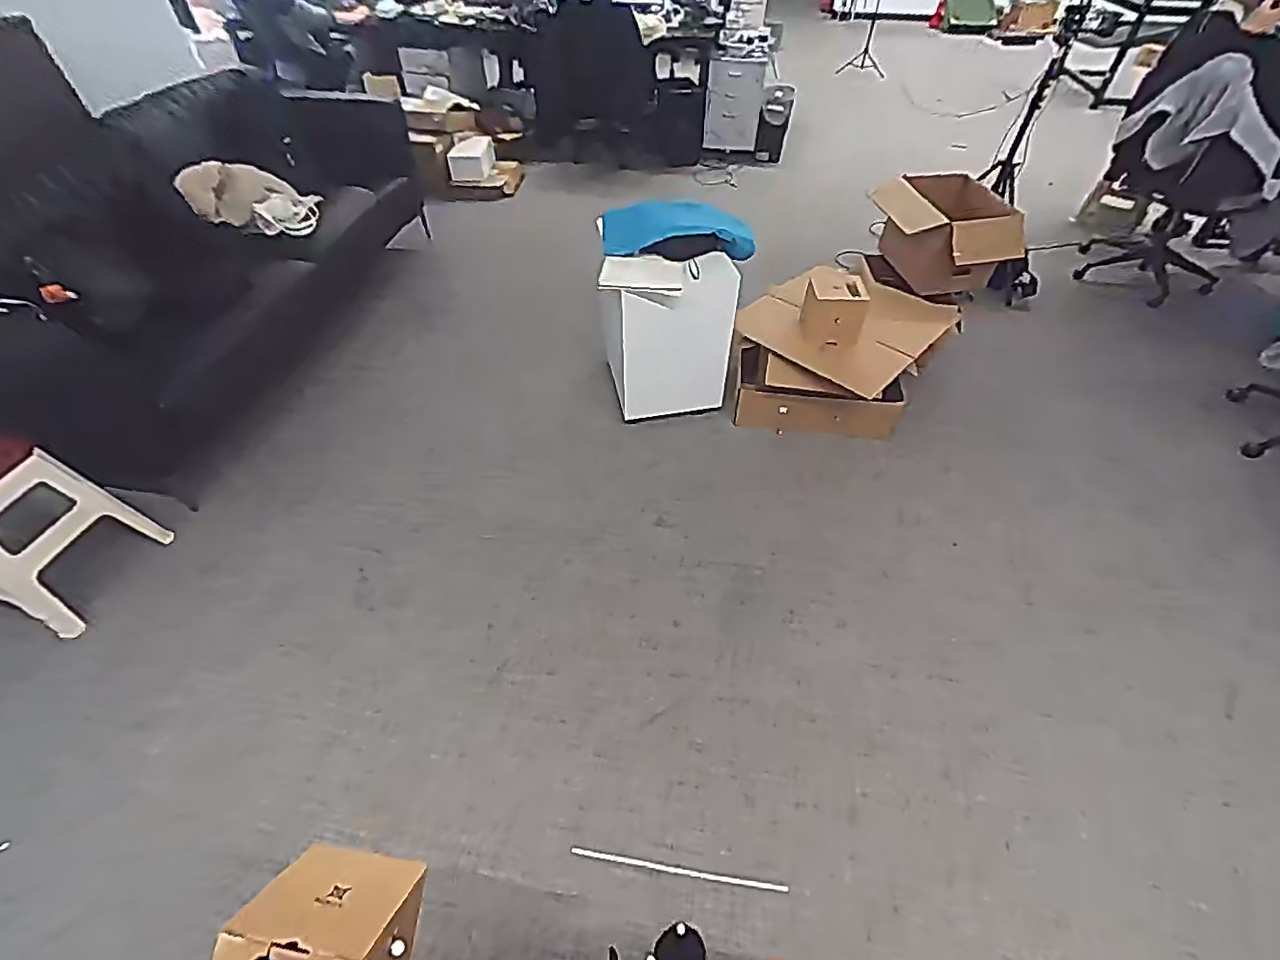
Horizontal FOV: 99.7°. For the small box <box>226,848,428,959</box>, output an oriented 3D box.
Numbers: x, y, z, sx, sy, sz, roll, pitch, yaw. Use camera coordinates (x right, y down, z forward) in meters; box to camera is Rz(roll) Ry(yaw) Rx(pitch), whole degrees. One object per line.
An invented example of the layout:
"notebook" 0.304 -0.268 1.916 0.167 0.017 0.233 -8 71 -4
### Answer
"small box" -0.391 0.603 0.666 0.168 0.179 0.176 9 84 3
